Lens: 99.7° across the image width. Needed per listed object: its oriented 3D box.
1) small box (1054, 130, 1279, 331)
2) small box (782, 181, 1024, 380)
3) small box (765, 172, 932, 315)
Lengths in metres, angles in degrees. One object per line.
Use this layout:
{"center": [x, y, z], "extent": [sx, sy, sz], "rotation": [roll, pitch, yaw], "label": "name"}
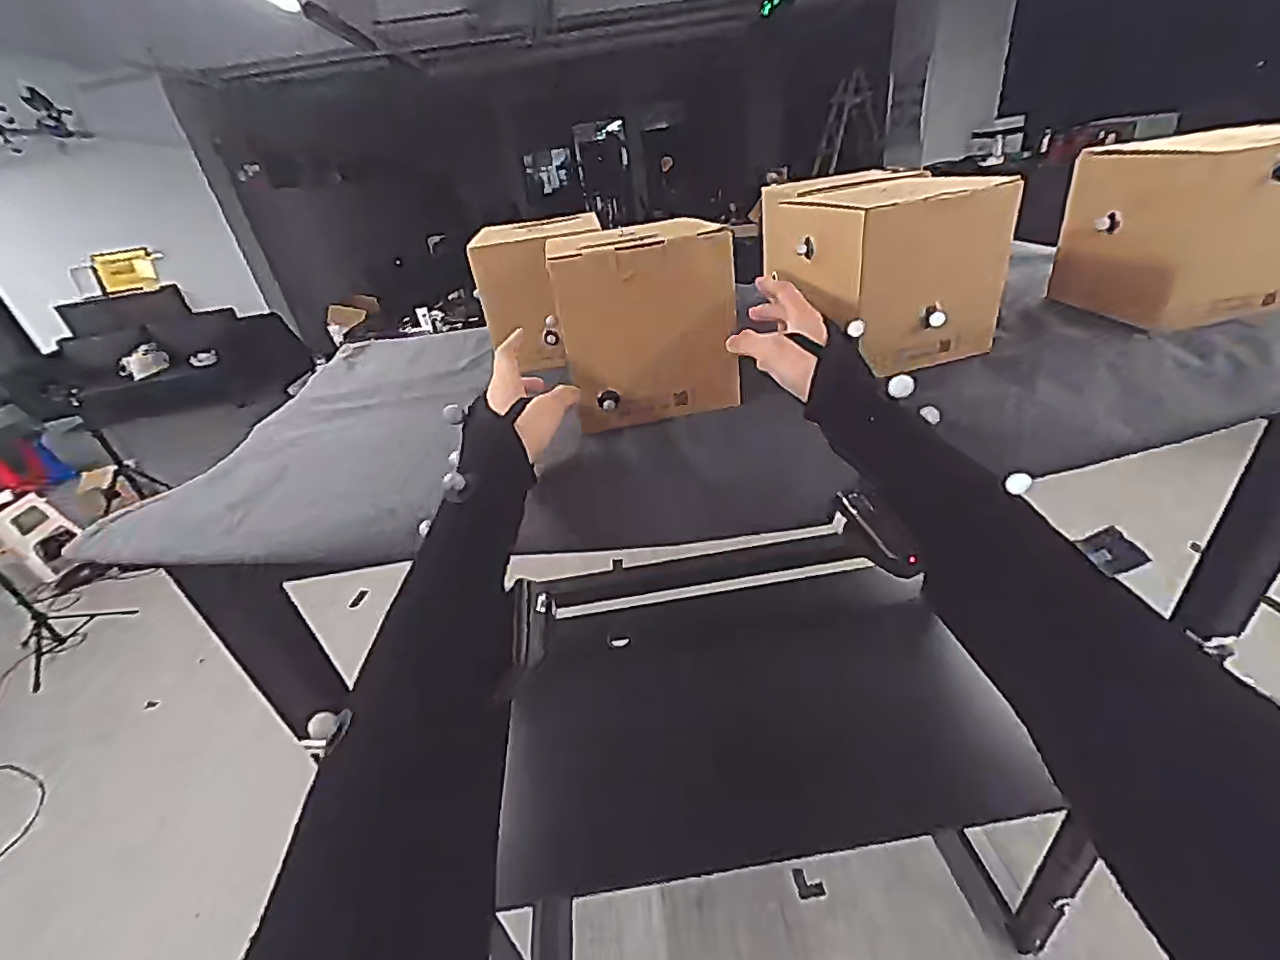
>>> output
{"center": [0.601, -0.270, 0.588], "extent": [0.168, 0.176, 0.179], "rotation": [-9, 30, 2], "label": "small box"}
{"center": [0.268, -0.225, 0.601], "extent": [0.168, 0.176, 0.179], "rotation": [-14, 32, -8], "label": "small box"}
{"center": [0.286, -0.340, 0.787], "extent": [0.179, 0.176, 0.168], "rotation": [-9, 30, 0], "label": "small box"}
